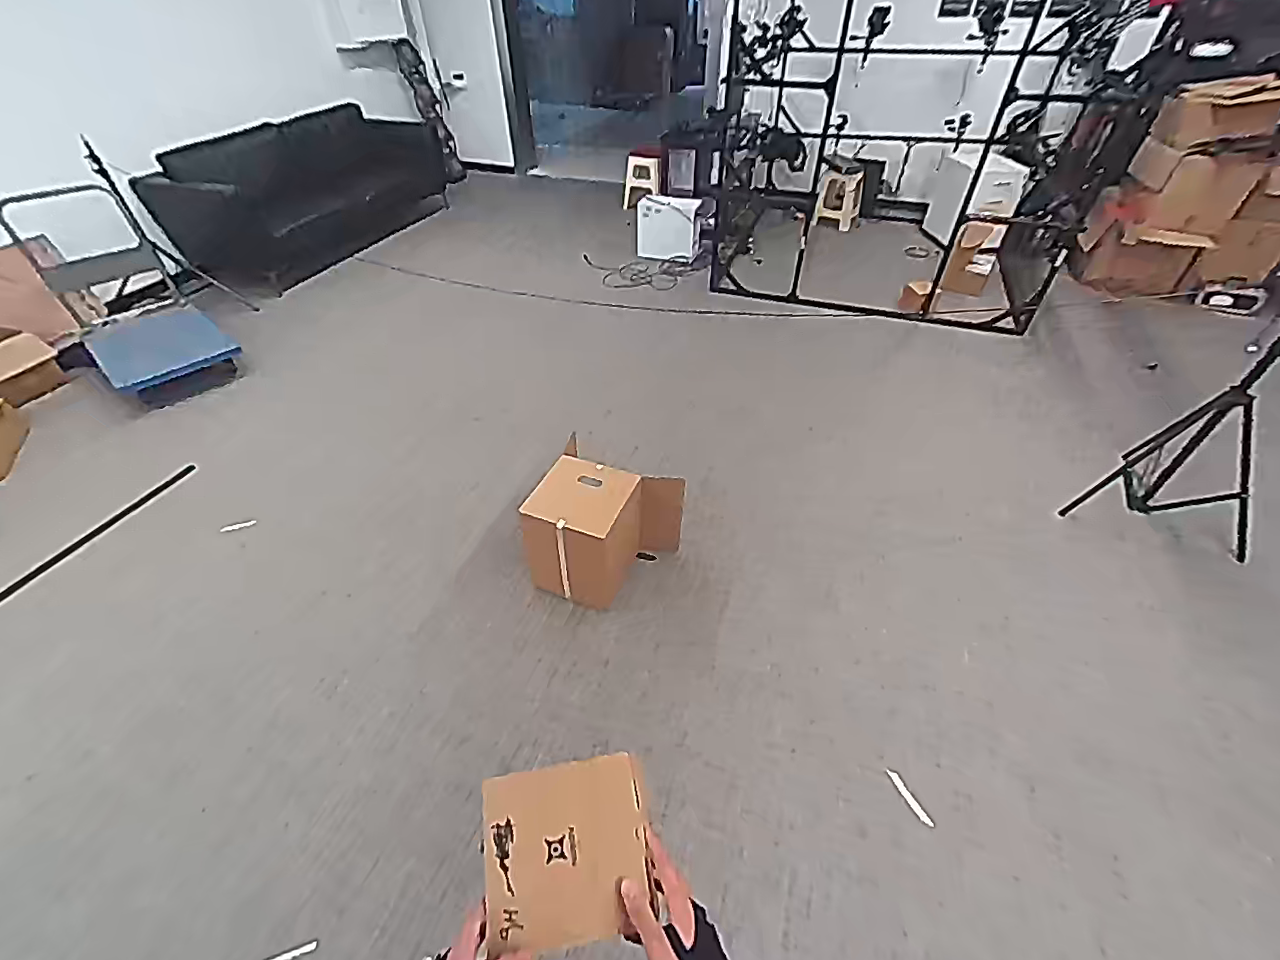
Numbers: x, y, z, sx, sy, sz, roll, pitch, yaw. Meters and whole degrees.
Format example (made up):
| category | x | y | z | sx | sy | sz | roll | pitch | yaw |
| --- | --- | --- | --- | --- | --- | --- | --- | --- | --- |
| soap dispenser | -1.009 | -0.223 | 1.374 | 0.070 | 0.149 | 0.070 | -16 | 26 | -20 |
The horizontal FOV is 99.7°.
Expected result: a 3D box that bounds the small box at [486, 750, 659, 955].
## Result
| category | x | y | z | sx | sy | sz | roll | pitch | yaw |
| --- | --- | --- | --- | --- | --- | --- | --- | --- | --- |
| small box | -0.076 | 0.432 | 0.652 | 0.179 | 0.176 | 0.168 | -10 | 60 | -2 |
